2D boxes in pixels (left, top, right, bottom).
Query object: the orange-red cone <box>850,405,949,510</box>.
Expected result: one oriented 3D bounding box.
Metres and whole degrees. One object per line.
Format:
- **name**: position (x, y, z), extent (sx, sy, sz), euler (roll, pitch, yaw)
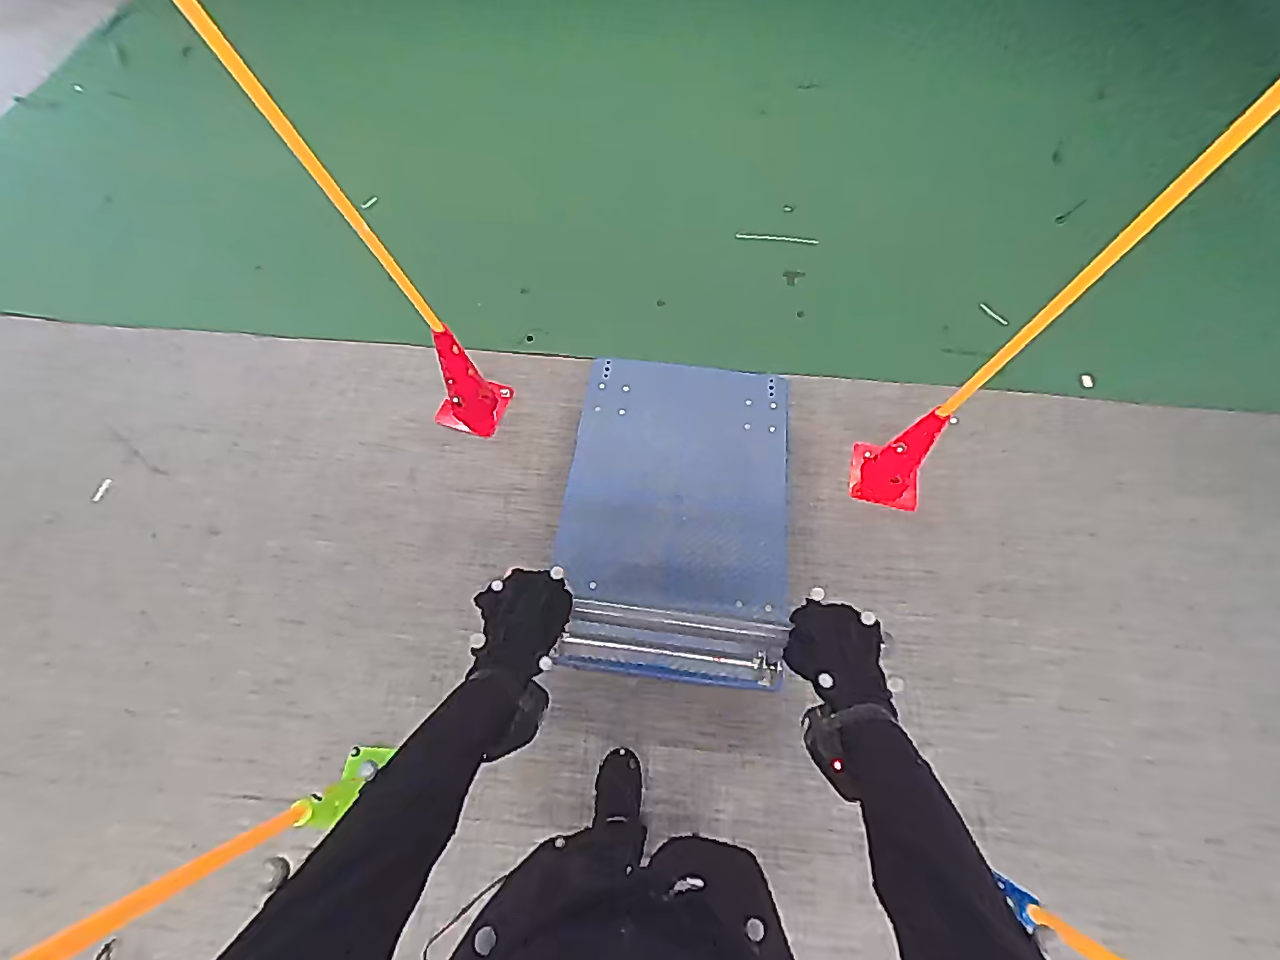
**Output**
- **orange-red cone**: position (0.738, -0.089, 1.472), extent (0.198, 0.360, 0.199), euler (14, 65, 7)
